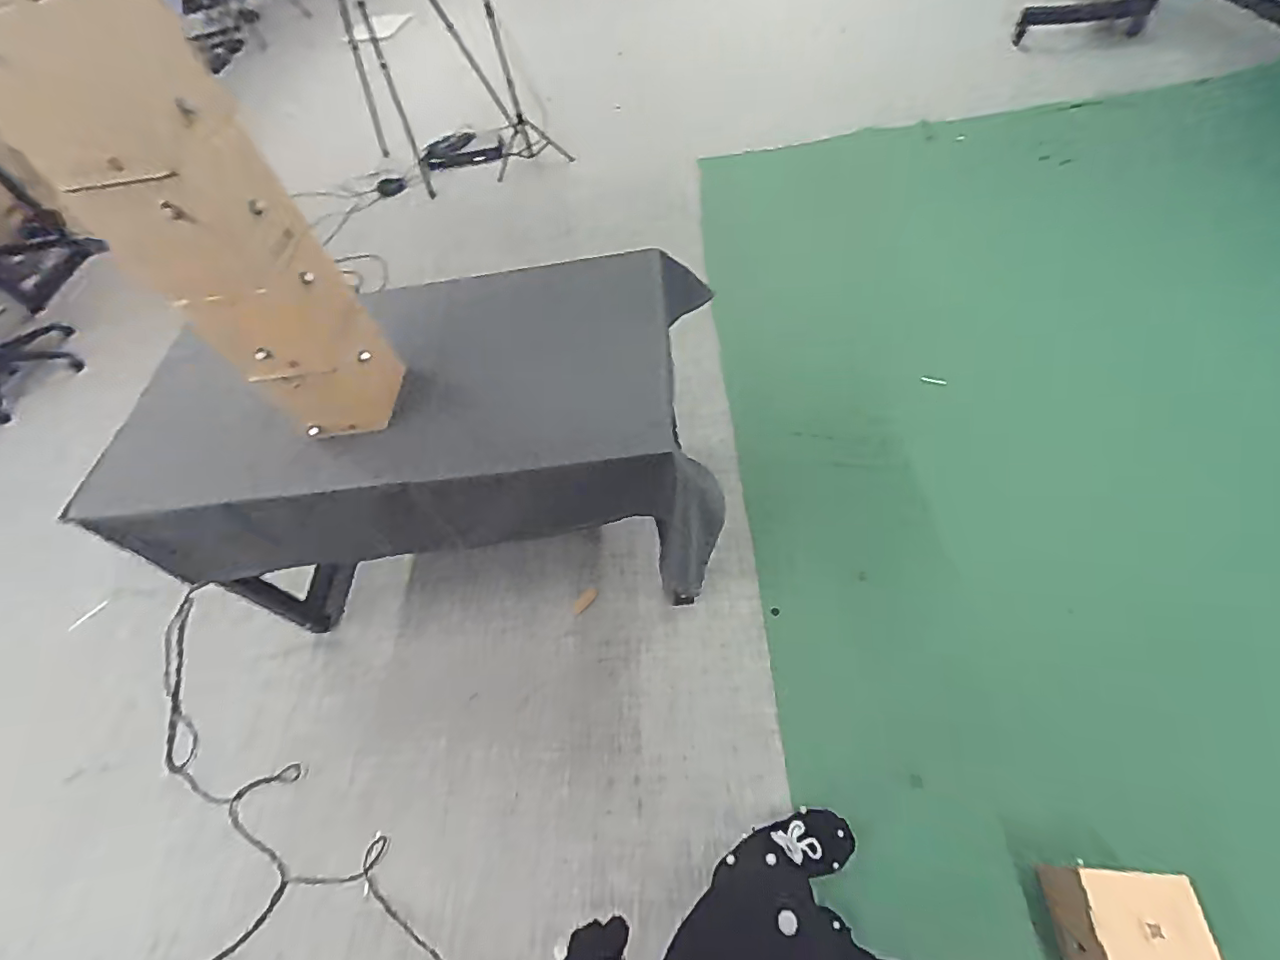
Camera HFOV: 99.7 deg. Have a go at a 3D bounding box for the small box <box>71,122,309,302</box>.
[{"bbox_3d":[-0.633,-0.386,0.792,0.179,0.176,0.168,-5,55,7],"label":"small box"}]

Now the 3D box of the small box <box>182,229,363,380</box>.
[{"bbox_3d":[-0.610,-0.296,0.929,0.168,0.176,0.179,-6,56,6],"label":"small box"}]

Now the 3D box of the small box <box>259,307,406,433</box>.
[{"bbox_3d":[-0.587,-0.206,1.061,0.168,0.176,0.179,-6,54,6],"label":"small box"}]

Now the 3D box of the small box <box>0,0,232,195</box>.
[{"bbox_3d":[-0.653,-0.478,0.658,0.168,0.176,0.179,-4,55,8],"label":"small box"}]

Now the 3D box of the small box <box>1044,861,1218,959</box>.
[{"bbox_3d":[0.876,0.802,0.984,0.179,0.176,0.168,-2,56,10],"label":"small box"}]
